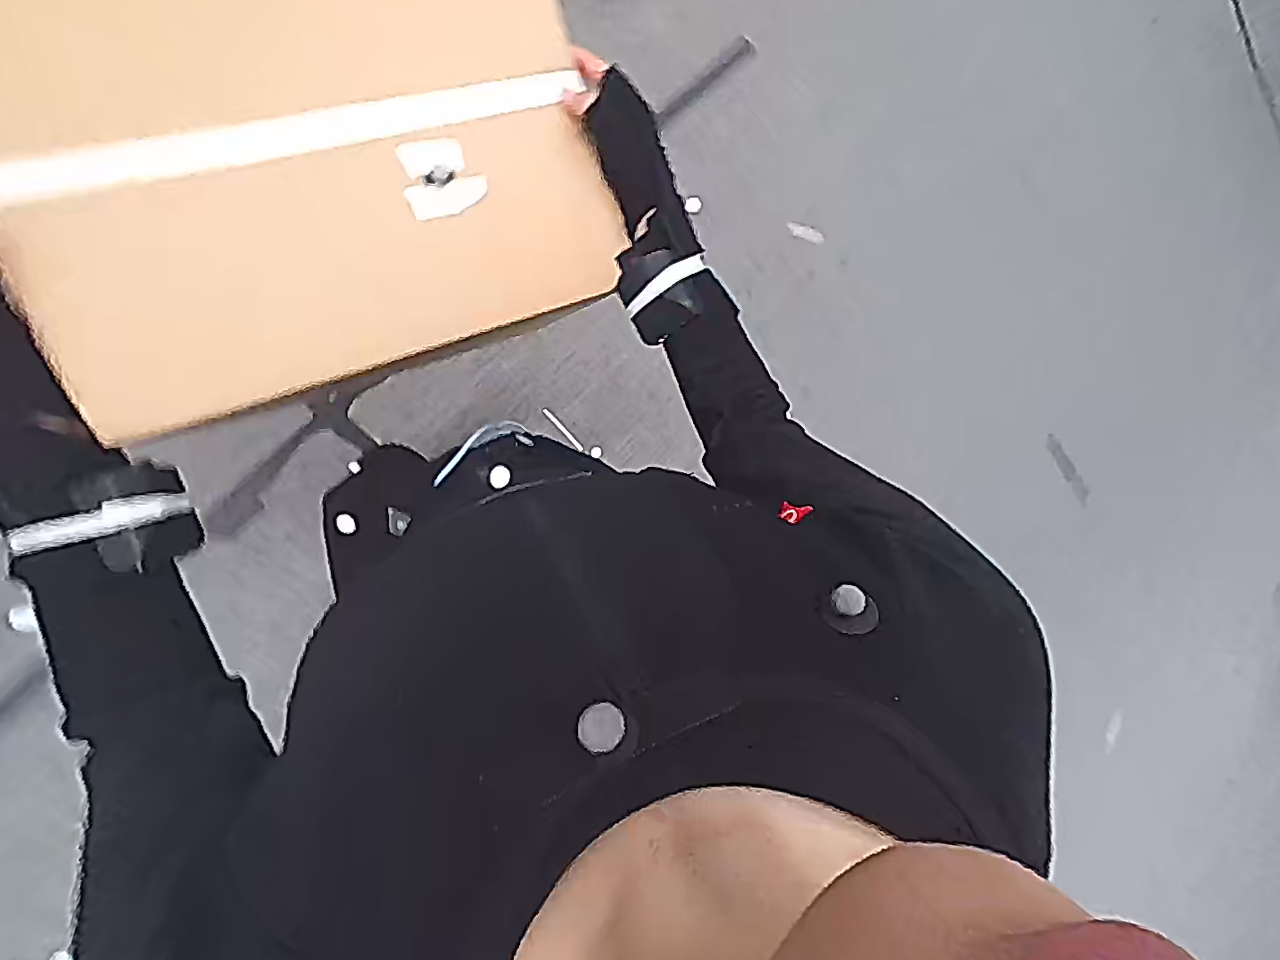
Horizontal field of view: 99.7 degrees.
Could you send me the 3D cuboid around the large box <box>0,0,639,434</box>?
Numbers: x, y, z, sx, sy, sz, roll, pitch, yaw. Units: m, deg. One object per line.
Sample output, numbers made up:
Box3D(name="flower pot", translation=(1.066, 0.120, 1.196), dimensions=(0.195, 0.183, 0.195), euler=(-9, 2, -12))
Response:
Box3D(name="large box", translation=(-0.276, -0.262, 0.524), dimensions=(0.408, 0.320, 0.320), euler=(-24, 108, -21))
